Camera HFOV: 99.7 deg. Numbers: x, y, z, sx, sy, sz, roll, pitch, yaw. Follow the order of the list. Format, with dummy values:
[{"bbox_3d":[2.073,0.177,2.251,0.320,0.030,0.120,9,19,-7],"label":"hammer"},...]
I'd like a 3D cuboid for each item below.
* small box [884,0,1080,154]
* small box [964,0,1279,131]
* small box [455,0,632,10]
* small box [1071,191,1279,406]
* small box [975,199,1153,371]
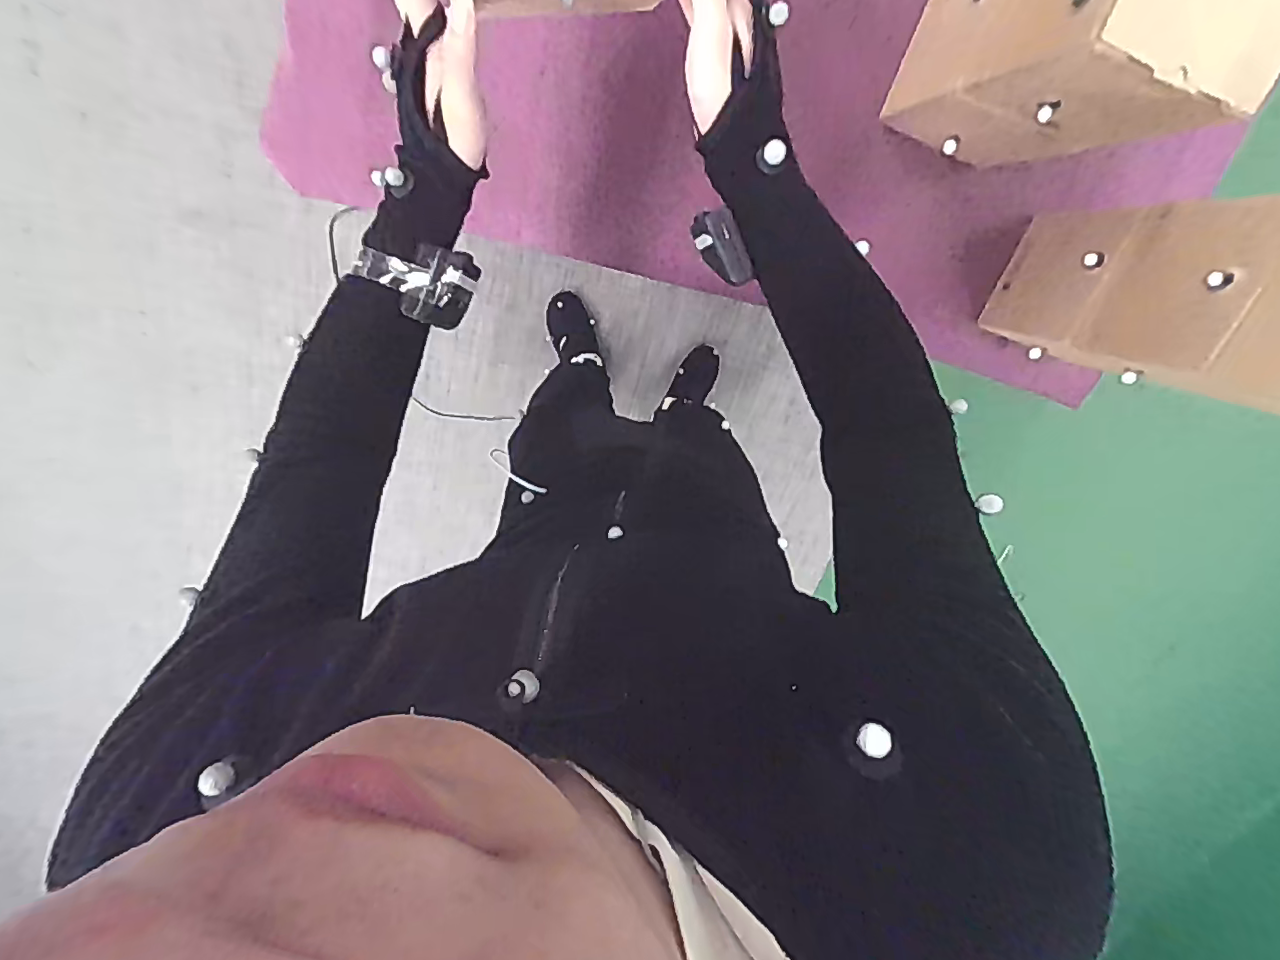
[{"bbox_3d":[0.413,-0.497,0.607,0.168,0.176,0.179,15,113,-13],"label":"small box"},{"bbox_3d":[0.425,-0.429,0.460,0.168,0.176,0.179,12,114,-13],"label":"small box"},{"bbox_3d":[-0.055,-0.433,0.352,0.179,0.176,0.168,-13,122,-11],"label":"small box"},{"bbox_3d":[0.640,-0.201,0.593,0.168,0.176,0.179,15,112,-12],"label":"small box"},{"bbox_3d":[0.619,-0.267,0.742,0.179,0.176,0.168,15,112,-13],"label":"small box"}]
